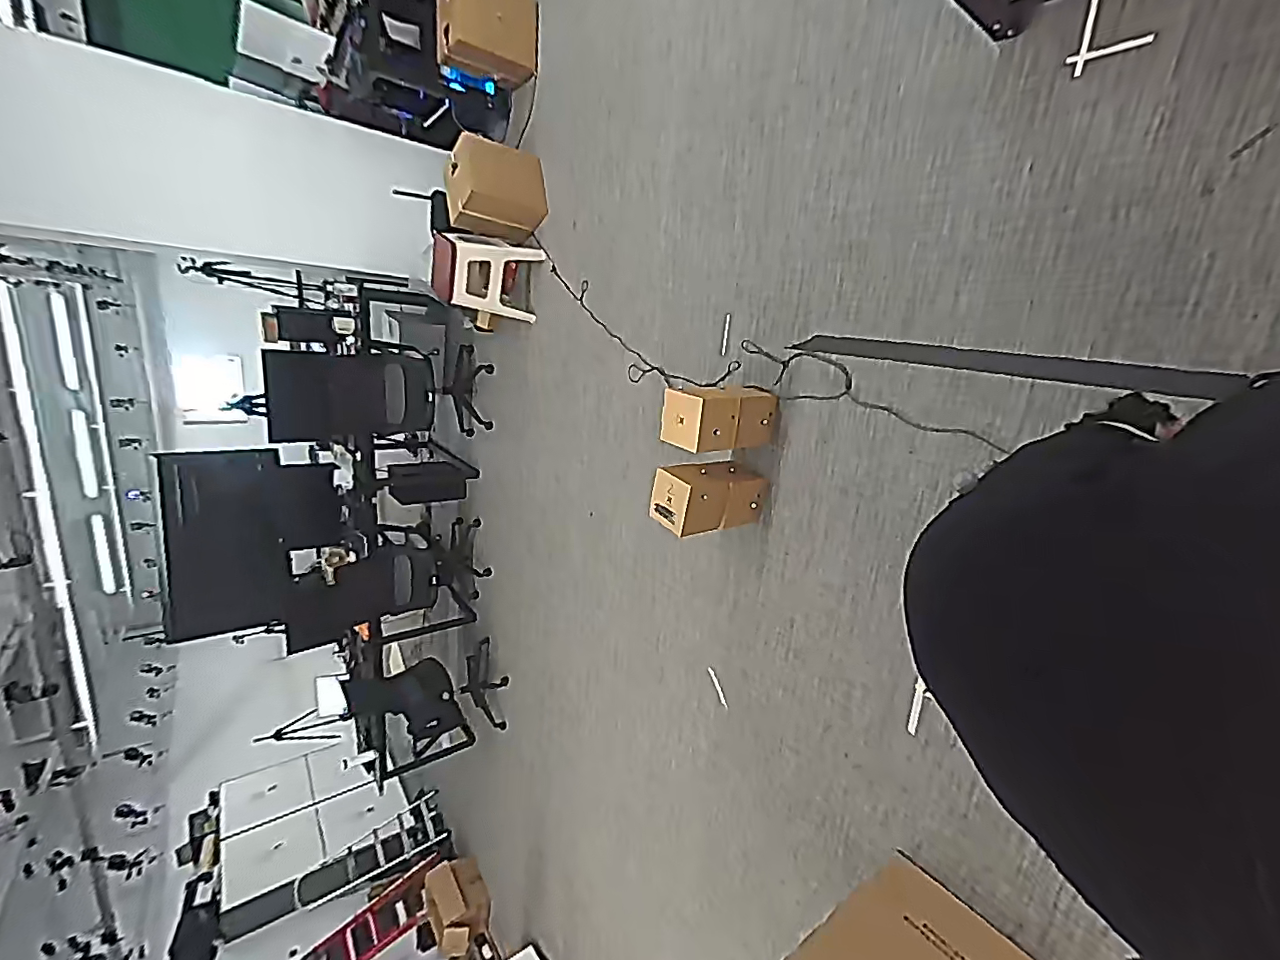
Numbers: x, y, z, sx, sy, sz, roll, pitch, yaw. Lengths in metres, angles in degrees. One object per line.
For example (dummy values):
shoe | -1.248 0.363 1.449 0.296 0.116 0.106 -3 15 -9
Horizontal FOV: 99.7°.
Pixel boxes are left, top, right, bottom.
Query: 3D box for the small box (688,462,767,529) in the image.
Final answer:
small box | 0.294 0.045 1.821 0.179 0.176 0.168 32 121 45

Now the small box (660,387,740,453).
small box | 0.185 -0.189 1.655 0.179 0.176 0.168 26 117 49

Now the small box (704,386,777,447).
small box | 0.314 -0.210 1.750 0.179 0.176 0.168 26 118 48
